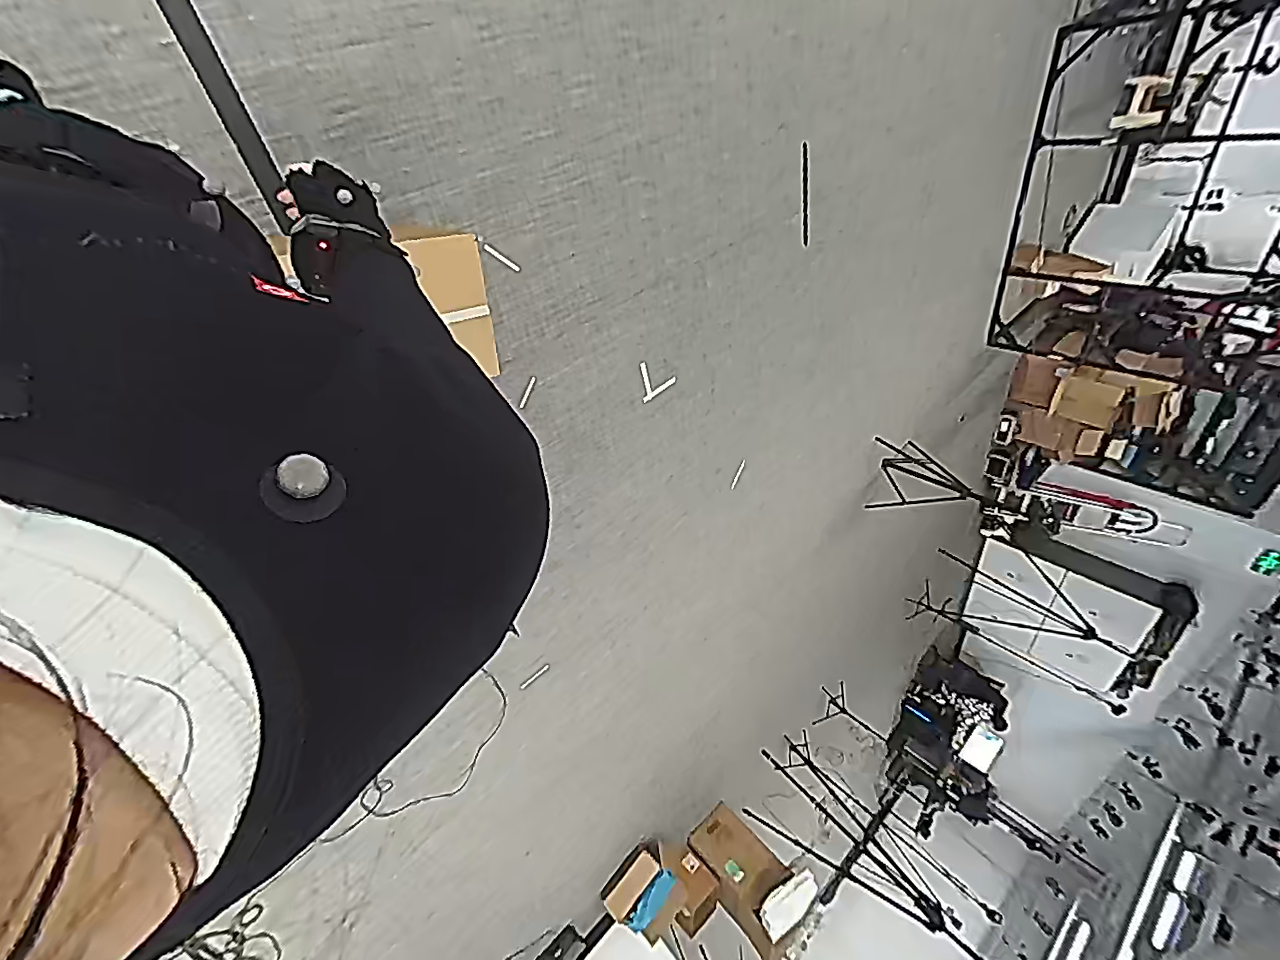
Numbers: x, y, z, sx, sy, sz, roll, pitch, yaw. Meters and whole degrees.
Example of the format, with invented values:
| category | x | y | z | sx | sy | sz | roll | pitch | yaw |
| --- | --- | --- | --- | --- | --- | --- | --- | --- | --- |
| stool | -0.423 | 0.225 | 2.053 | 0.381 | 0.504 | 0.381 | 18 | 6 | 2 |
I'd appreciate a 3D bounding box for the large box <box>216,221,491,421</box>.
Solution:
| category | x | y | z | sx | sy | sz | roll | pitch | yaw |
| --- | --- | --- | --- | --- | --- | --- | --- | --- | --- |
| large box | -0.601 | -0.369 | 1.174 | 0.408 | 0.320 | 0.320 | -27 | 130 | -35 |
